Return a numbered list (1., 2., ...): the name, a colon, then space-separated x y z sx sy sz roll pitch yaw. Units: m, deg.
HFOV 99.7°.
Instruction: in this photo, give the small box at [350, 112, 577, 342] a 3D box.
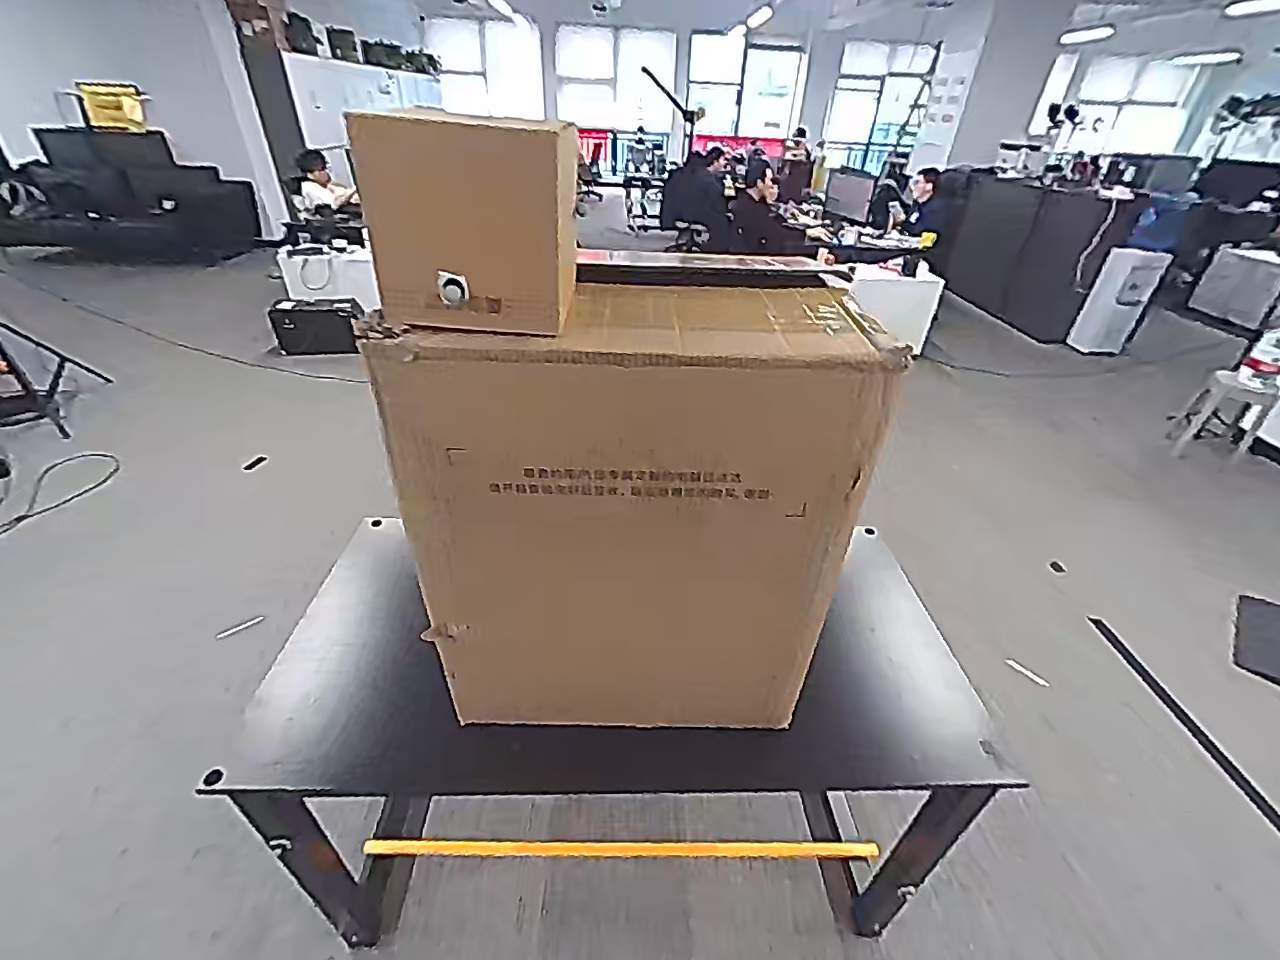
1. small box: -0.150 -0.250 0.530 0.168 0.176 0.179 2 36 -4
